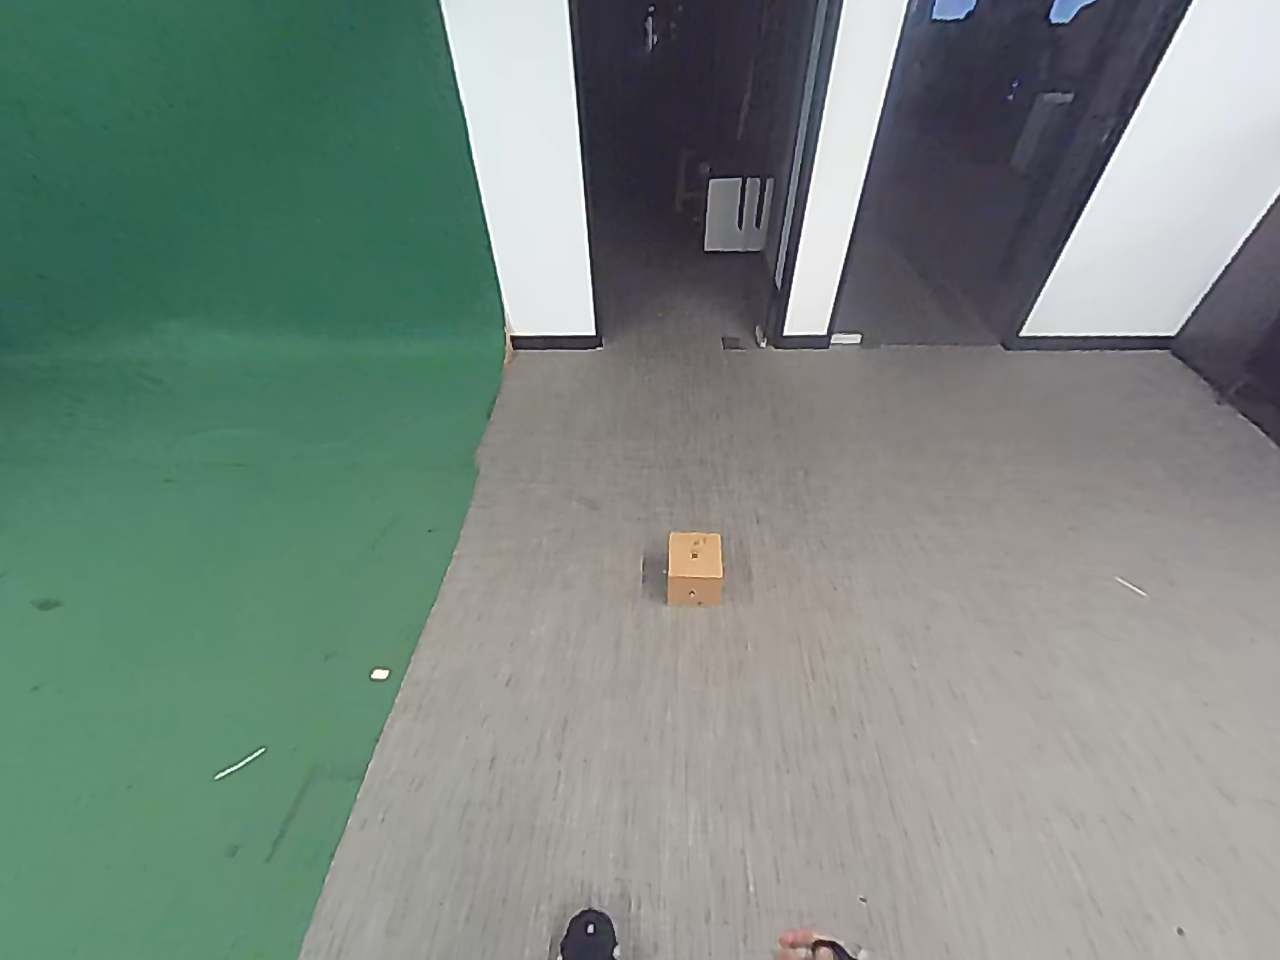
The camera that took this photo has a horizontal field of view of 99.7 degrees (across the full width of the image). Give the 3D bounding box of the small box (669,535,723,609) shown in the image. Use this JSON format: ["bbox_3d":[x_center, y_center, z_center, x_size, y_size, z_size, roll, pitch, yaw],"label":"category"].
[{"bbox_3d":[0.178,0.298,1.742,0.168,0.176,0.179,2,45,3],"label":"small box"}]
